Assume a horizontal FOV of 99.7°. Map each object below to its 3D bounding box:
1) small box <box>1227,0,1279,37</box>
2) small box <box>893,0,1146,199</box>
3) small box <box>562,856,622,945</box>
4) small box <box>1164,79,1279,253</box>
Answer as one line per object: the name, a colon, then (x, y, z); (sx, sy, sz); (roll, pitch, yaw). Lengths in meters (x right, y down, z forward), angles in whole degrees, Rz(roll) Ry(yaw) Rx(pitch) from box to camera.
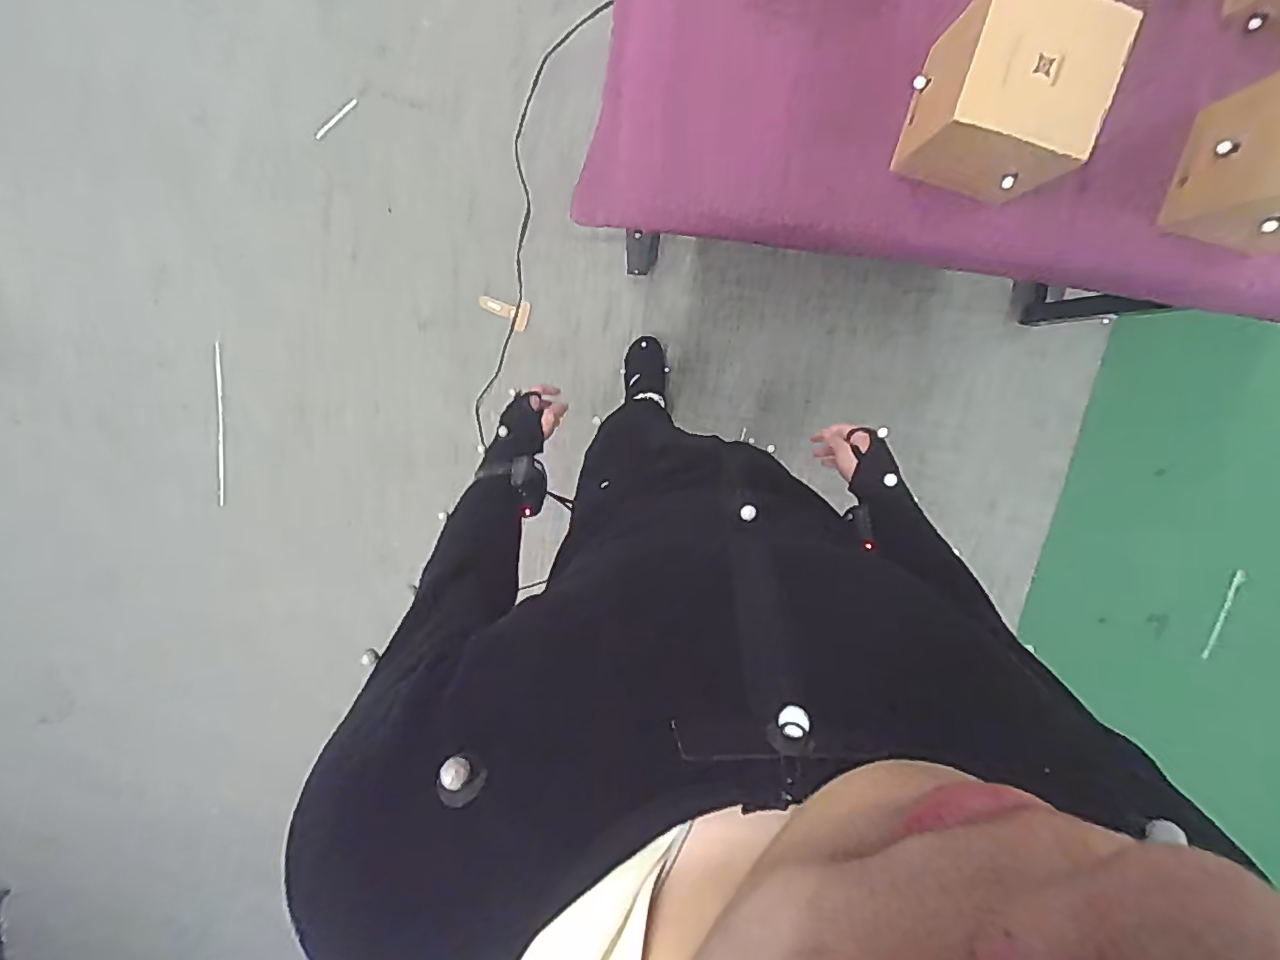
small box: (0.904, -0.682, 0.664); (0.168, 0.176, 0.179); (13, 100, -3)
small box: (0.469, -0.489, 0.699); (0.179, 0.176, 0.168); (16, 100, -3)
small box: (-0.156, 1.406, 1.814); (0.179, 0.176, 0.168); (8, 101, -2)
small box: (0.872, -0.418, 0.717); (0.179, 0.176, 0.168); (13, 100, -2)
